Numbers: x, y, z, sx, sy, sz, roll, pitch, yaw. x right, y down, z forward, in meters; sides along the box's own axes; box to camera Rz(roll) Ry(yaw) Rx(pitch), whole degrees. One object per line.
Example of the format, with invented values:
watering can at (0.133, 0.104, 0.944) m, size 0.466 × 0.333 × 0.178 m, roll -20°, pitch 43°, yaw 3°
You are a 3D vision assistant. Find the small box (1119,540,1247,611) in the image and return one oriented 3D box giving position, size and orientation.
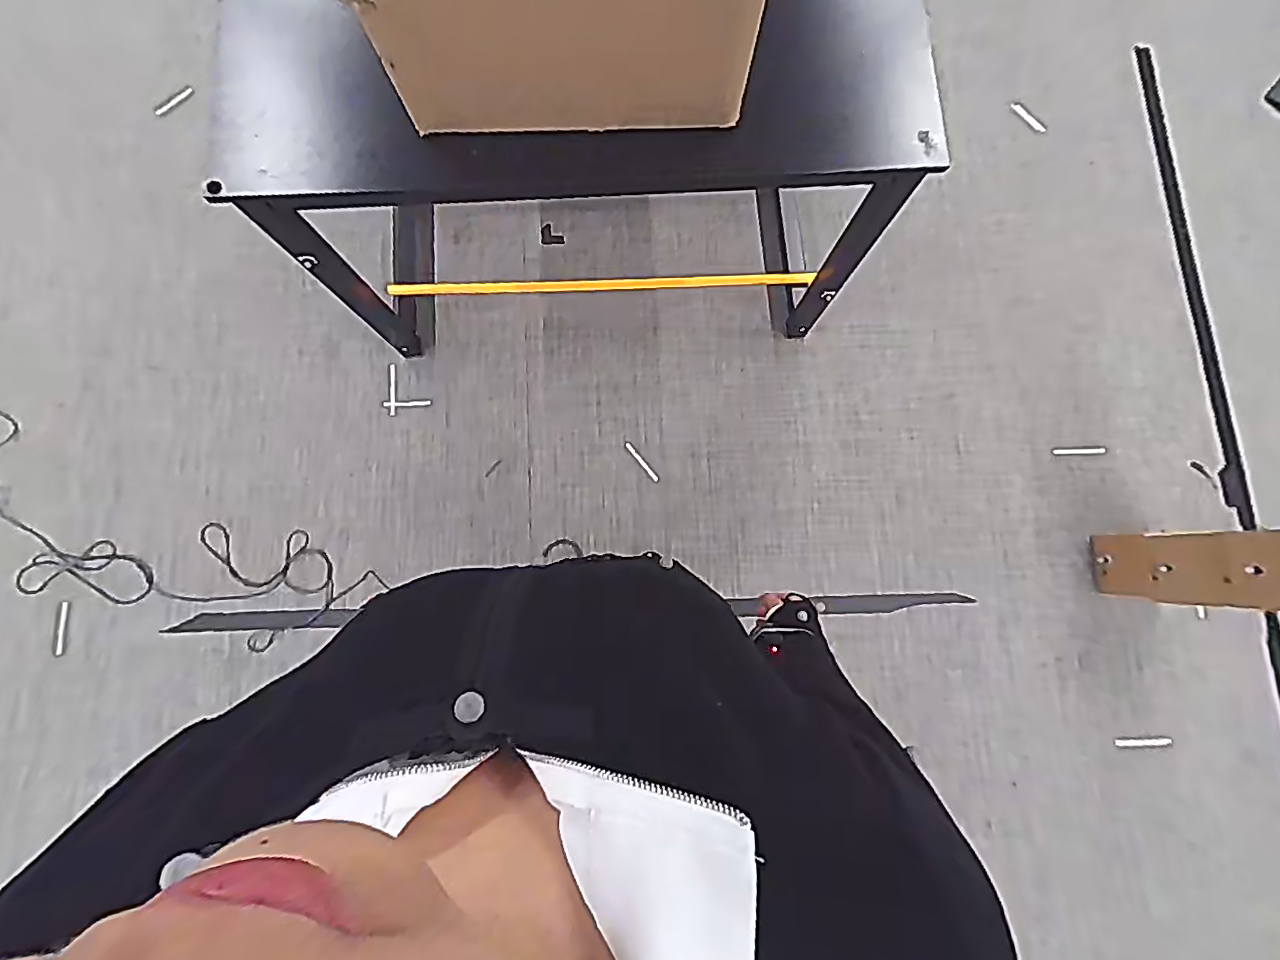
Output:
small box at (1.382, 0.238, 1.372) m, size 0.179 × 0.176 × 0.168 m, roll -3°, pitch 81°, yaw 0°

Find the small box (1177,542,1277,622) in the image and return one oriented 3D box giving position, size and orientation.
small box at (1.376, 0.223, 1.208) m, size 0.179 × 0.176 × 0.168 m, roll -2°, pitch 81°, yaw -1°

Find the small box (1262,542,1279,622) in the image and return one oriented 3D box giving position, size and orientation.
small box at (1.377, 0.199, 1.046) m, size 0.179 × 0.176 × 0.168 m, roll -2°, pitch 81°, yaw -1°
